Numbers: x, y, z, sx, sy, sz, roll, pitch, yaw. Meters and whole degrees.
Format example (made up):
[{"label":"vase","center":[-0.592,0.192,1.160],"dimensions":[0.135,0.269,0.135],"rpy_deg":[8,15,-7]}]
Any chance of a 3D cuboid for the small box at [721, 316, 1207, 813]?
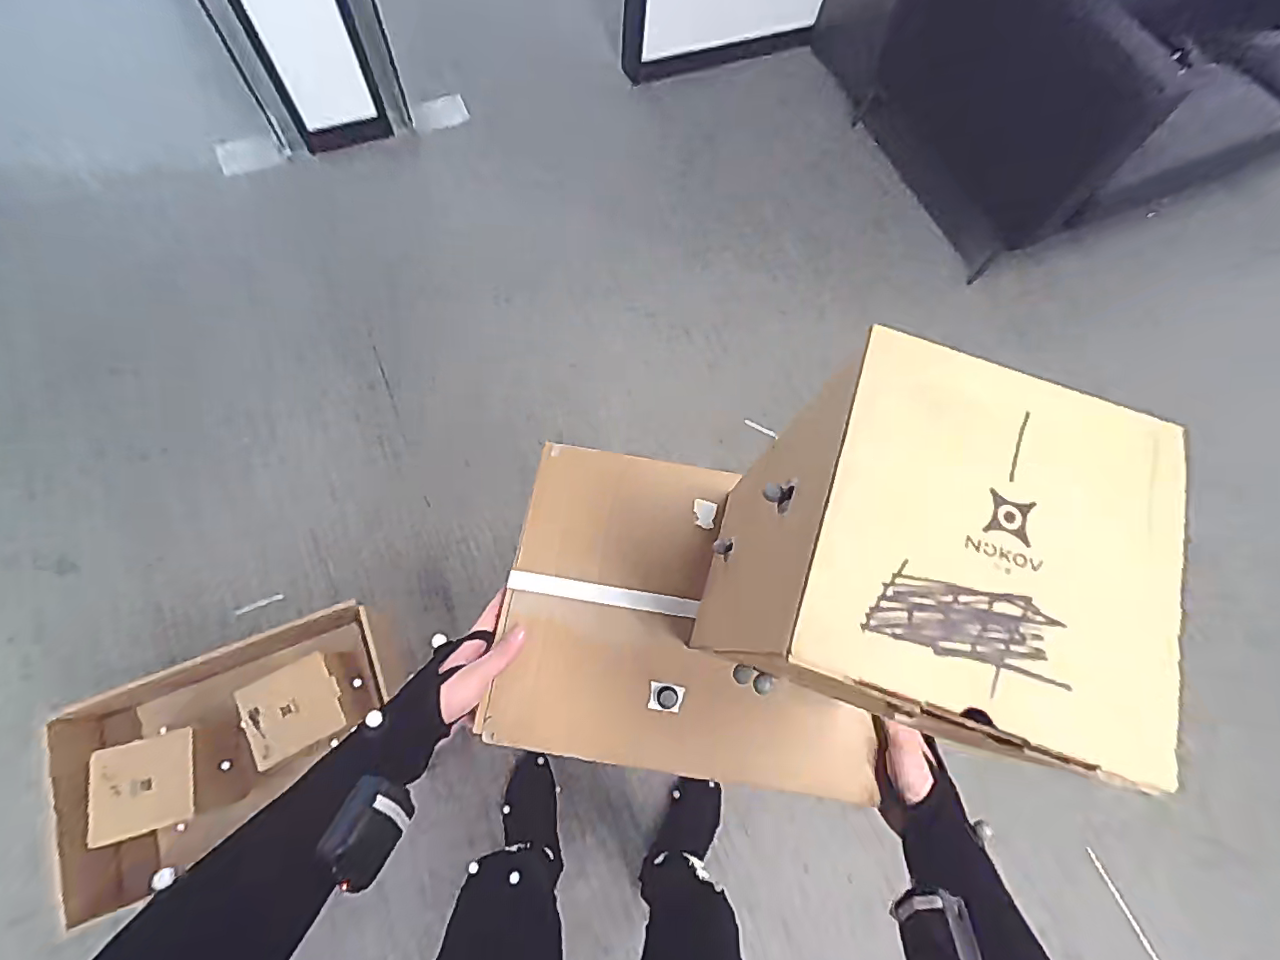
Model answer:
[{"label":"small box","center":[0.155,0.048,0.310],"dimensions":[0.168,0.176,0.179],"rpy_deg":[20,71,3]}]
